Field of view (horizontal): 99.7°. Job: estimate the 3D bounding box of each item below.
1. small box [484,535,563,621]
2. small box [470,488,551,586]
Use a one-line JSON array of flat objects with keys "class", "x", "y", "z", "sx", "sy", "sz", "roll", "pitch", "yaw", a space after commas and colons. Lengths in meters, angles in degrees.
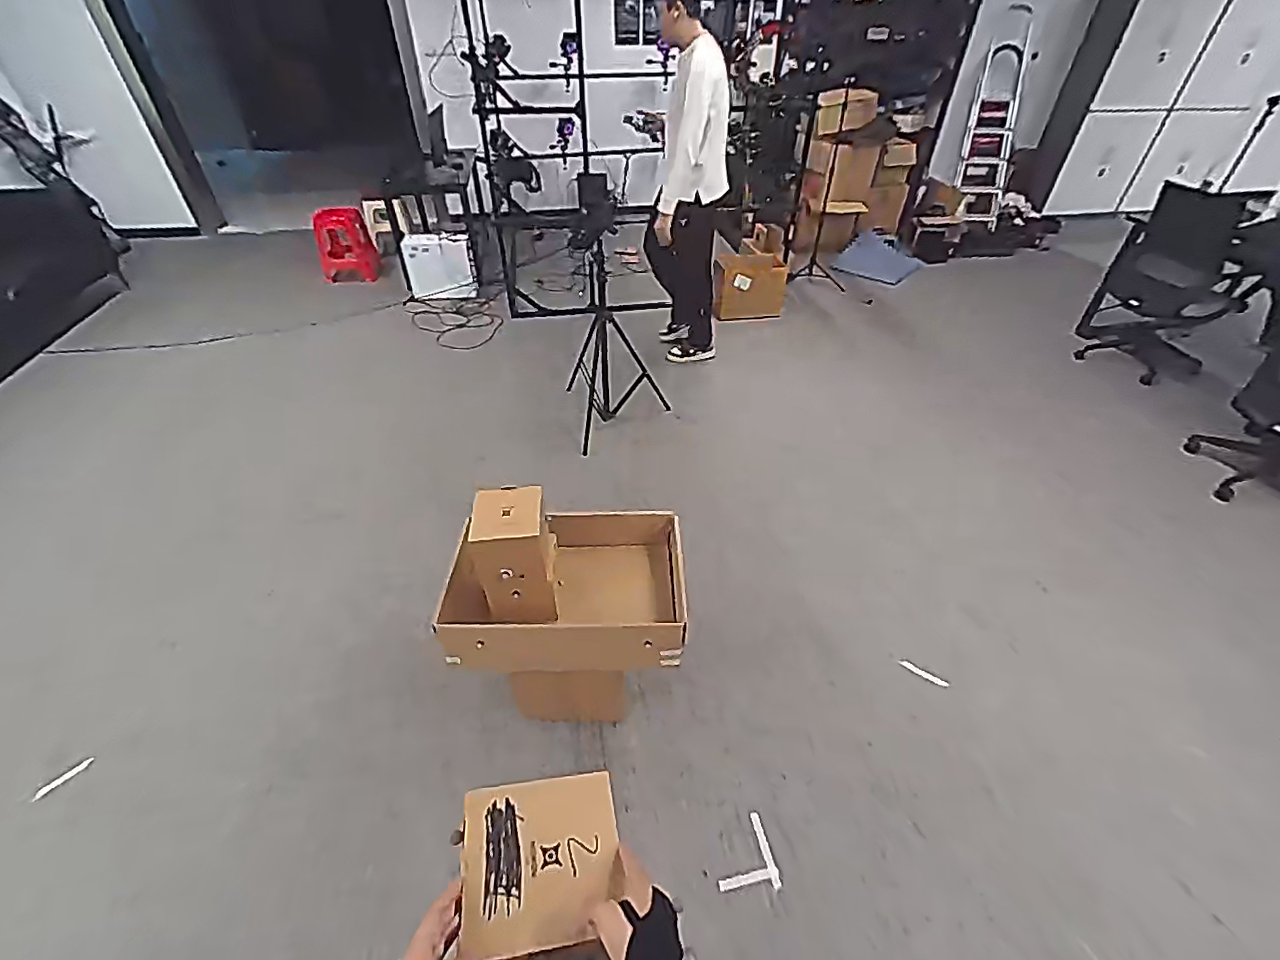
[{"class": "small box", "x": -0.307, "y": 0.267, "z": 1.462, "sx": 0.179, "sy": 0.176, "sz": 0.168, "roll": -2, "pitch": 41, "yaw": -4}, {"class": "small box", "x": -0.317, "y": 0.142, "z": 1.356, "sx": 0.168, "sy": 0.176, "sz": 0.179, "roll": -5, "pitch": 40, "yaw": -4}]
